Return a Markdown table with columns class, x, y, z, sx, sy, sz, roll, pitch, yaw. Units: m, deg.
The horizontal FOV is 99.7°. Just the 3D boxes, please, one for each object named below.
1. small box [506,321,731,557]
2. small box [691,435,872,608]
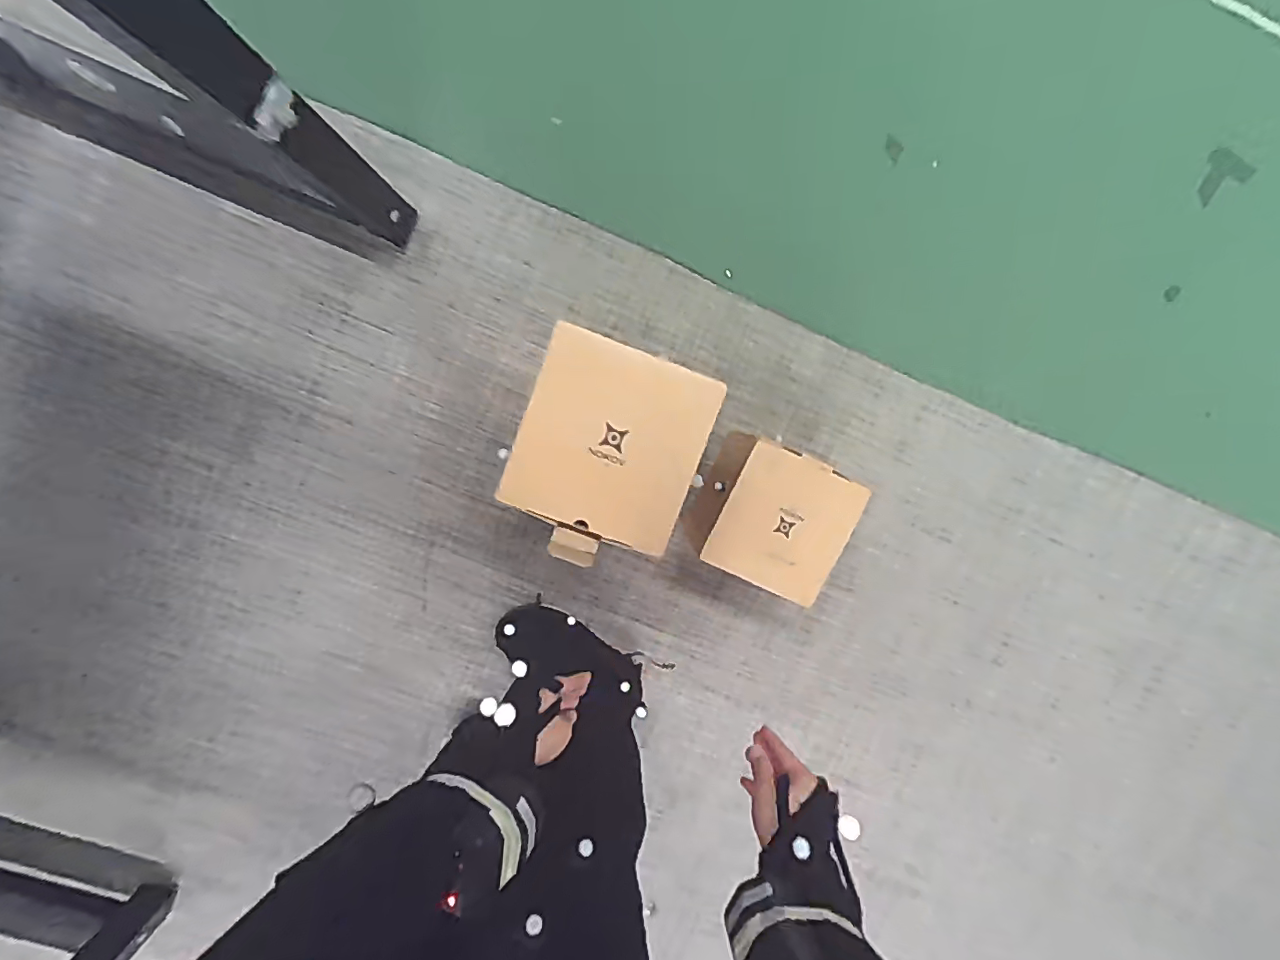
| class | x | y | z | sx | sy | sz | roll | pitch | yaw |
| --- | --- | --- | --- | --- | --- | --- | --- | --- | --- |
| small box | -0.026 | -0.044 | 0.574 | 0.168 | 0.176 | 0.179 | 20 | 96 | -6 |
| small box | 0.184 | 0.046 | 0.765 | 0.168 | 0.176 | 0.179 | 24 | 97 | -5 |
